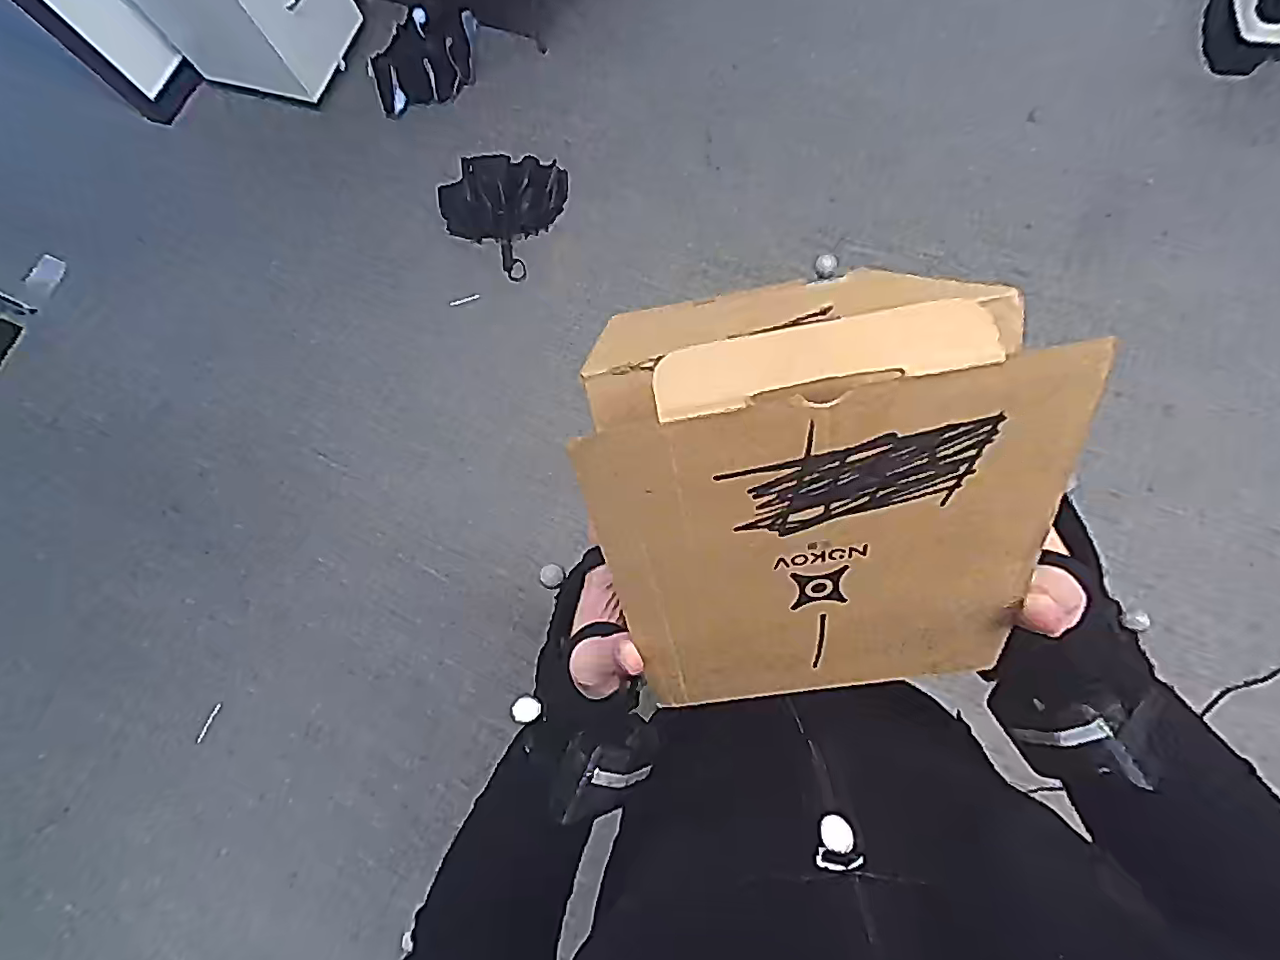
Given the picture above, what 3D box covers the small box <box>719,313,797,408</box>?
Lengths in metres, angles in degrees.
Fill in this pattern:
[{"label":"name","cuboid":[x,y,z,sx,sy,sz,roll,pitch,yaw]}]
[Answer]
[{"label":"small box","cuboid":[0.318,-0.324,1.486,0.168,0.176,0.179,17,79,13]}]
